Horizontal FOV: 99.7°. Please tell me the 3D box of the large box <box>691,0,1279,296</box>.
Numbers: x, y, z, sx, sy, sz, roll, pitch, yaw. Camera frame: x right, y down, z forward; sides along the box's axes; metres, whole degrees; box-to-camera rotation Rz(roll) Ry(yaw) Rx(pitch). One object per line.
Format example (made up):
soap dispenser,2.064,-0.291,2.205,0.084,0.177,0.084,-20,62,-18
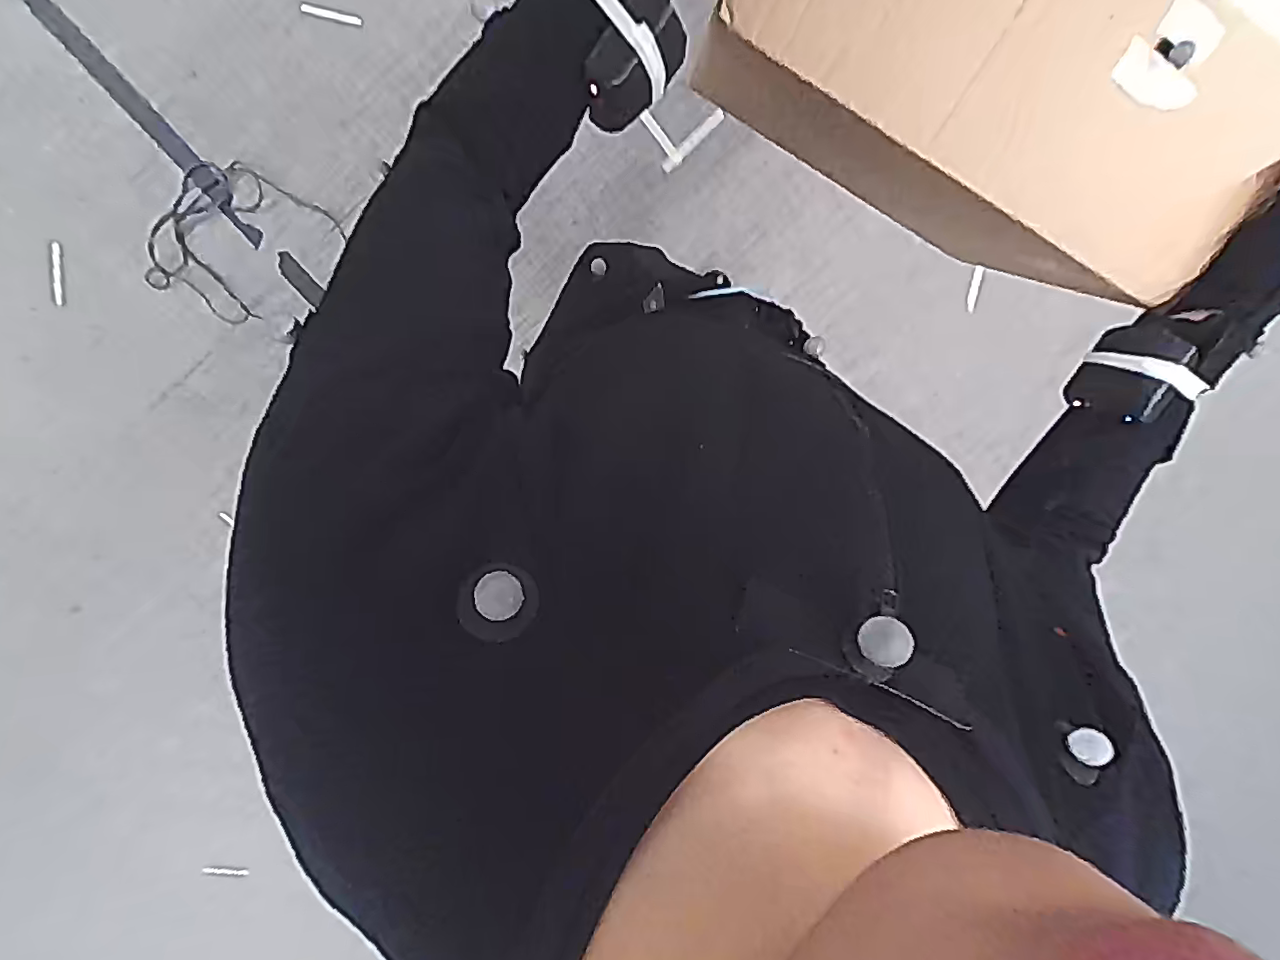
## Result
large box,0.296,-0.412,0.458,0.408,0.320,0.320,24,118,-13
